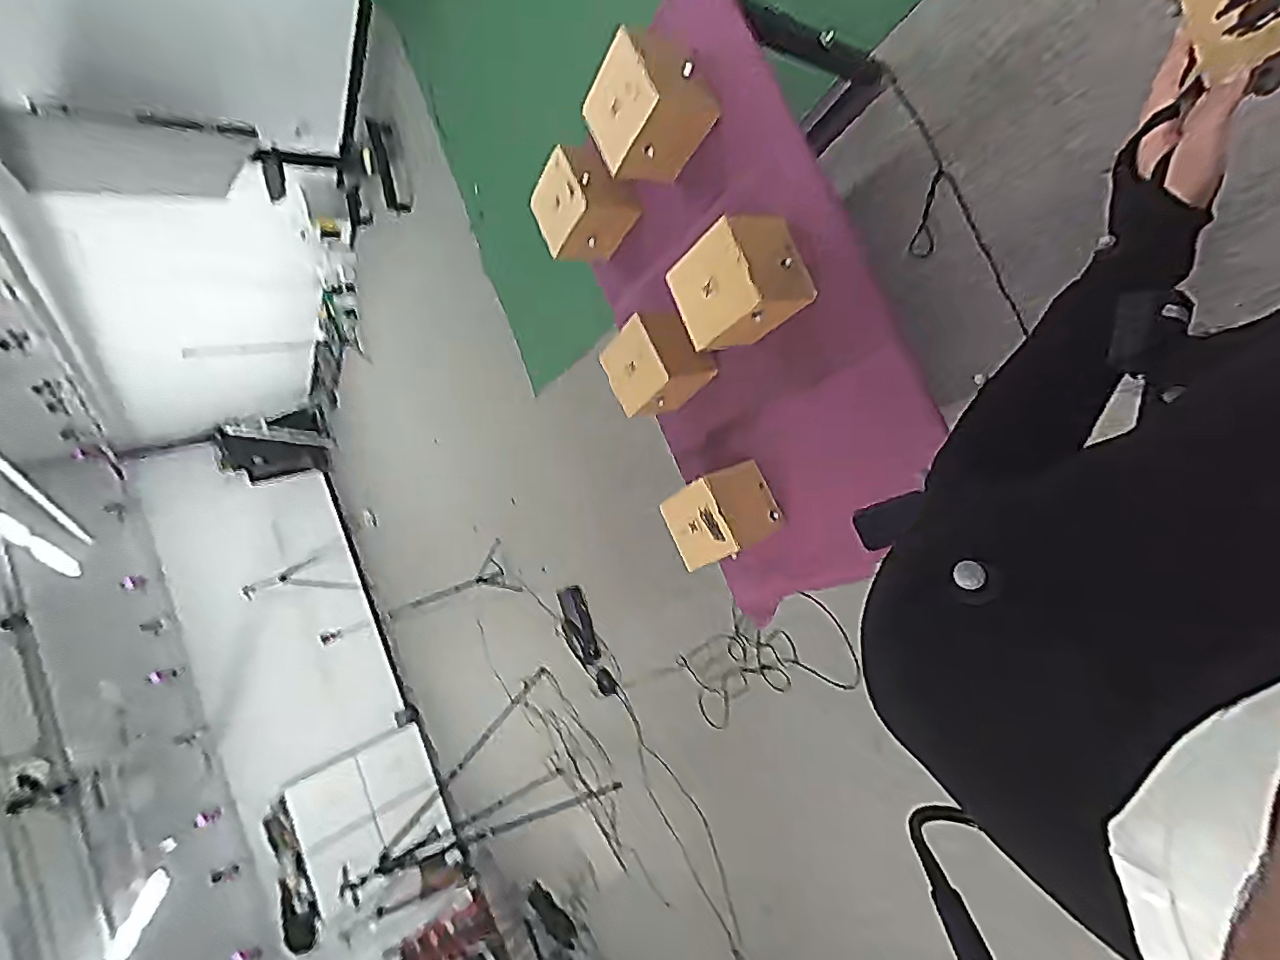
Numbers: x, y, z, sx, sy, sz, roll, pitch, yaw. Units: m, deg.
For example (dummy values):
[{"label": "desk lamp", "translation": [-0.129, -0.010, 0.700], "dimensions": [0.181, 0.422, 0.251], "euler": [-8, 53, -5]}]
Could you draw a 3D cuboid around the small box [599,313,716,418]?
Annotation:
[{"label": "small box", "translation": [0.040, -0.262, 1.232], "dimensions": [0.179, 0.176, 0.168], "euler": [-36, 76, 50]}]

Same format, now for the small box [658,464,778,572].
[{"label": "small box", "translation": [0.178, 0.080, 1.191], "dimensions": [0.179, 0.176, 0.168], "euler": [-38, 74, 51]}]

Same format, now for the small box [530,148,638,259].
[{"label": "small box", "translation": [-0.134, -0.650, 1.293], "dimensions": [0.179, 0.176, 0.168], "euler": [-35, 77, 51]}]

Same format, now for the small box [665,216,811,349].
[{"label": "small box", "translation": [0.184, -0.364, 1.016], "dimensions": [0.179, 0.176, 0.168], "euler": [-29, 81, 52]}]

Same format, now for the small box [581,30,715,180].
[{"label": "small box", "translation": [0.015, -0.728, 1.076], "dimensions": [0.179, 0.176, 0.168], "euler": [-34, 78, 52]}]
